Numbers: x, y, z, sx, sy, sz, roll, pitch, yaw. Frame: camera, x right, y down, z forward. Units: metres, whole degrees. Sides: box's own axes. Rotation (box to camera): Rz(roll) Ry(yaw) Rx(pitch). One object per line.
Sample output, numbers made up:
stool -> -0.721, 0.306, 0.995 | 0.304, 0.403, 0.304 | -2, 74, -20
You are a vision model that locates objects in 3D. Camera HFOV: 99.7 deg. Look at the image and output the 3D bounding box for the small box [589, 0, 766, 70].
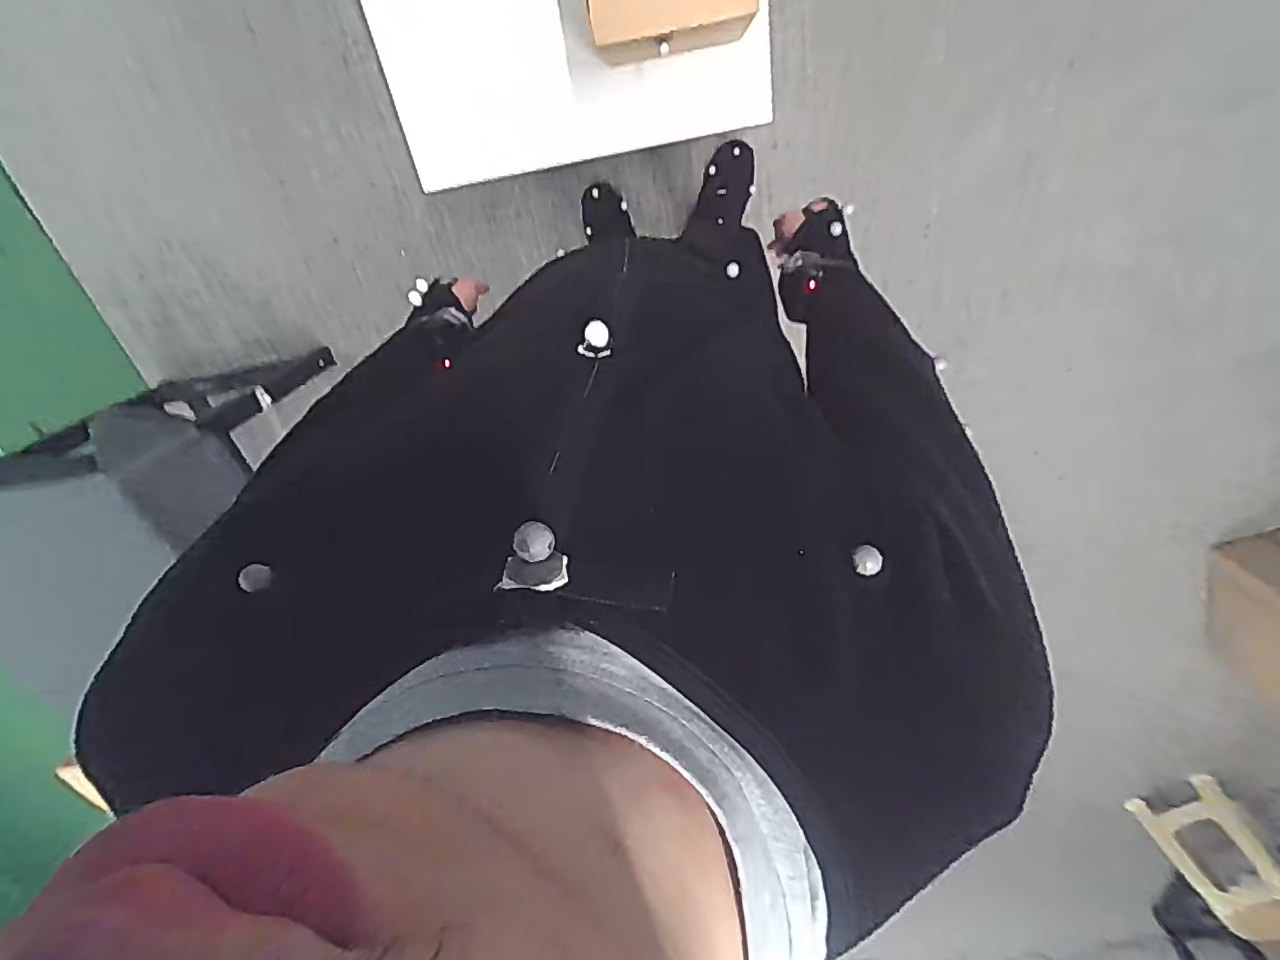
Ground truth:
small box -> 0.030, -0.563, 0.578 | 0.179, 0.176, 0.168 | -8, 120, 4
